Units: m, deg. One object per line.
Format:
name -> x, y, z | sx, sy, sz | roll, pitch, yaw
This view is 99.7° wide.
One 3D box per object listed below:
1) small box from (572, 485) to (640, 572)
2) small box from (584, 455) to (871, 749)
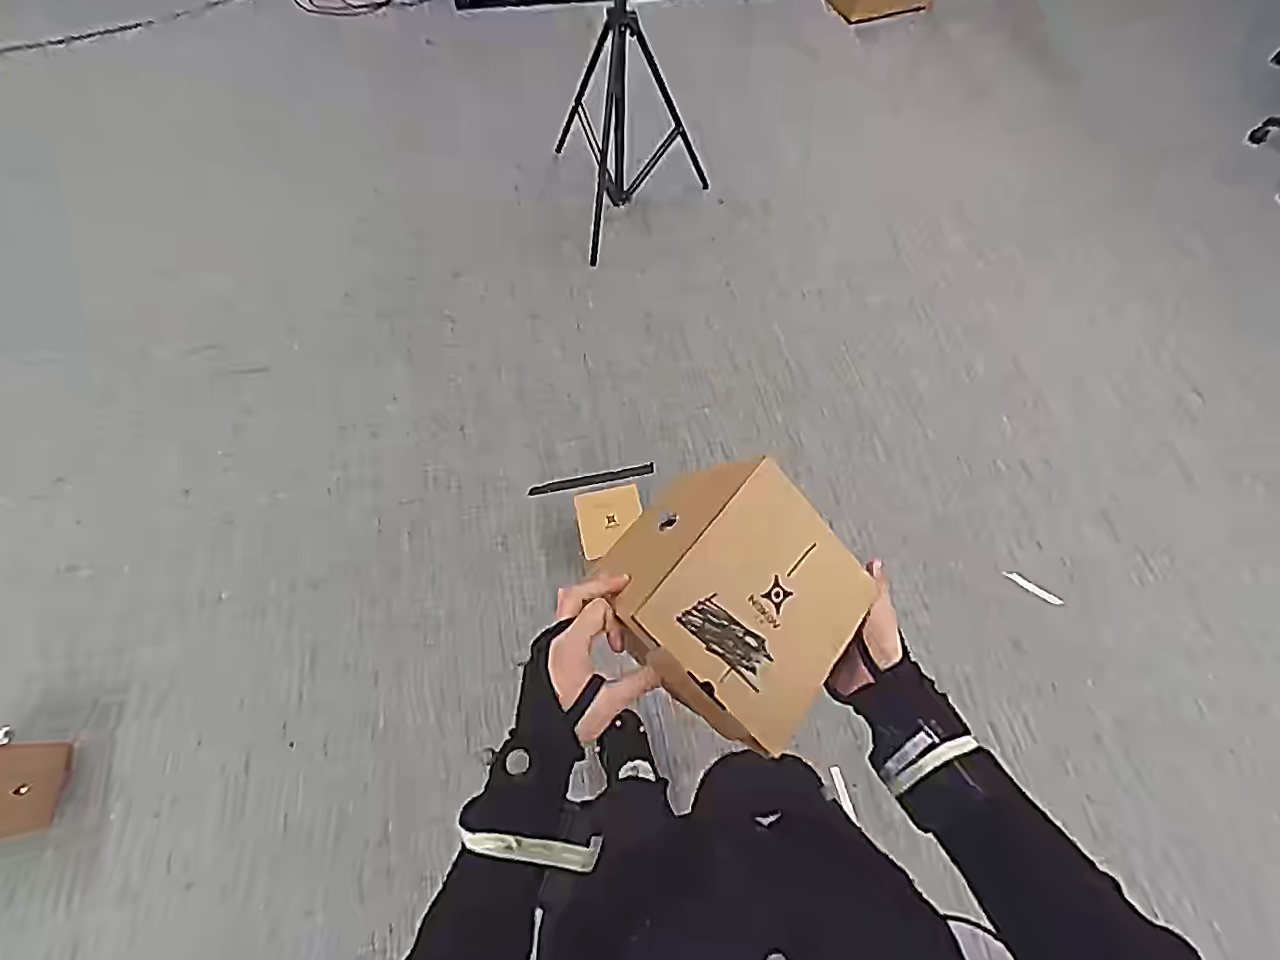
small box -> -0.077, 0.137, 1.416 | 0.168, 0.176, 0.179 | -12, 66, -9
small box -> 0.067, 0.103, 0.507 | 0.168, 0.176, 0.179 | 46, 69, -13
